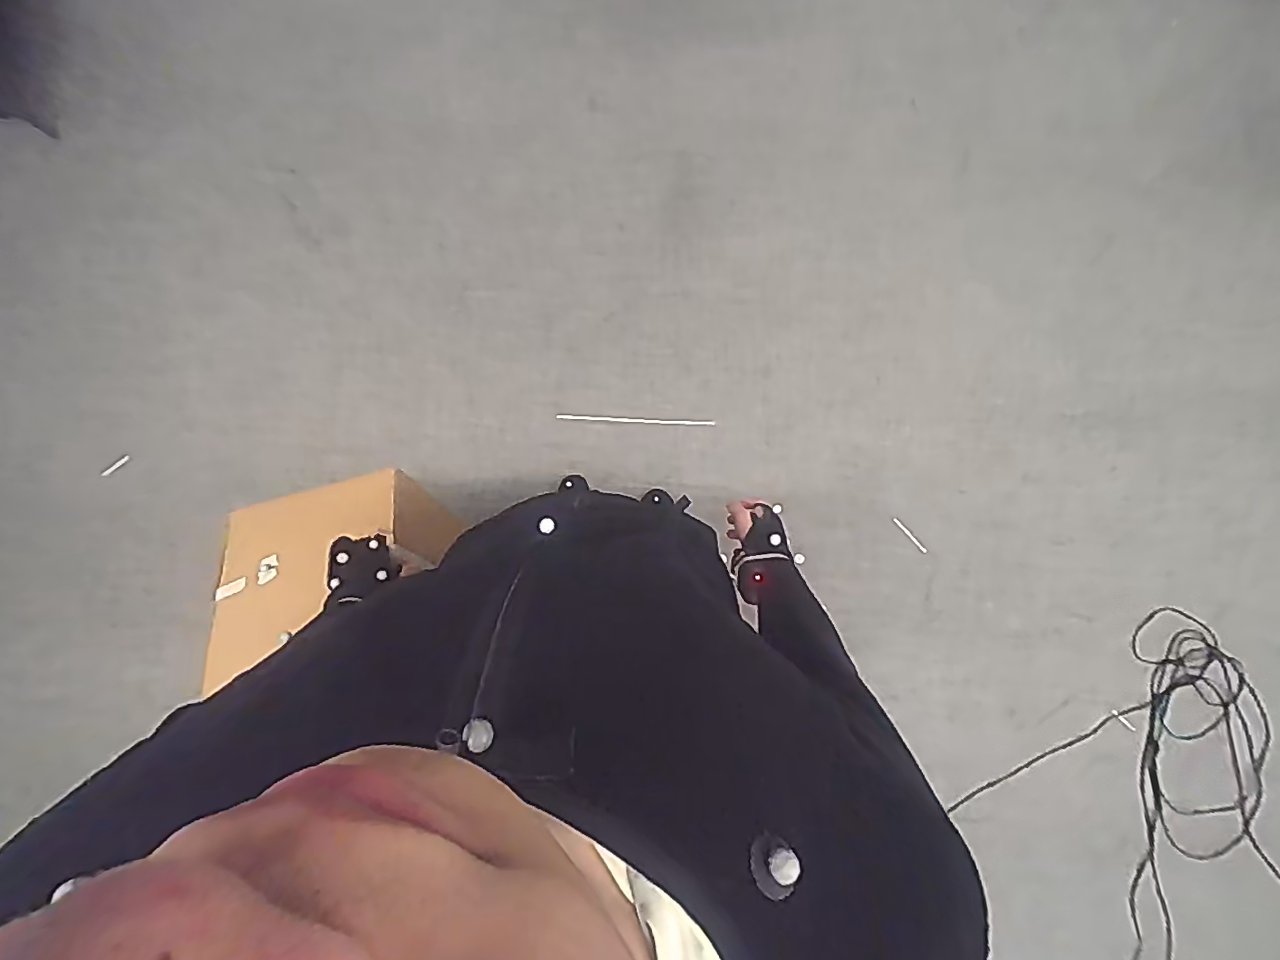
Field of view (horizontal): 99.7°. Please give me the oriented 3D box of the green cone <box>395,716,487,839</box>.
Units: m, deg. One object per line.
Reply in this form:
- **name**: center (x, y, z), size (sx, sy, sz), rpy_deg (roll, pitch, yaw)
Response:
- **green cone**: center (-0.572, 0.829, 1.470), size (0.200, 0.368, 0.202), rpy_deg (9, 92, -1)

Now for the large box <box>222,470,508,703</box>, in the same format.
- **large box**: center (-0.490, 0.230, 1.041), size (0.320, 0.408, 0.320), rpy_deg (-15, 64, 4)
